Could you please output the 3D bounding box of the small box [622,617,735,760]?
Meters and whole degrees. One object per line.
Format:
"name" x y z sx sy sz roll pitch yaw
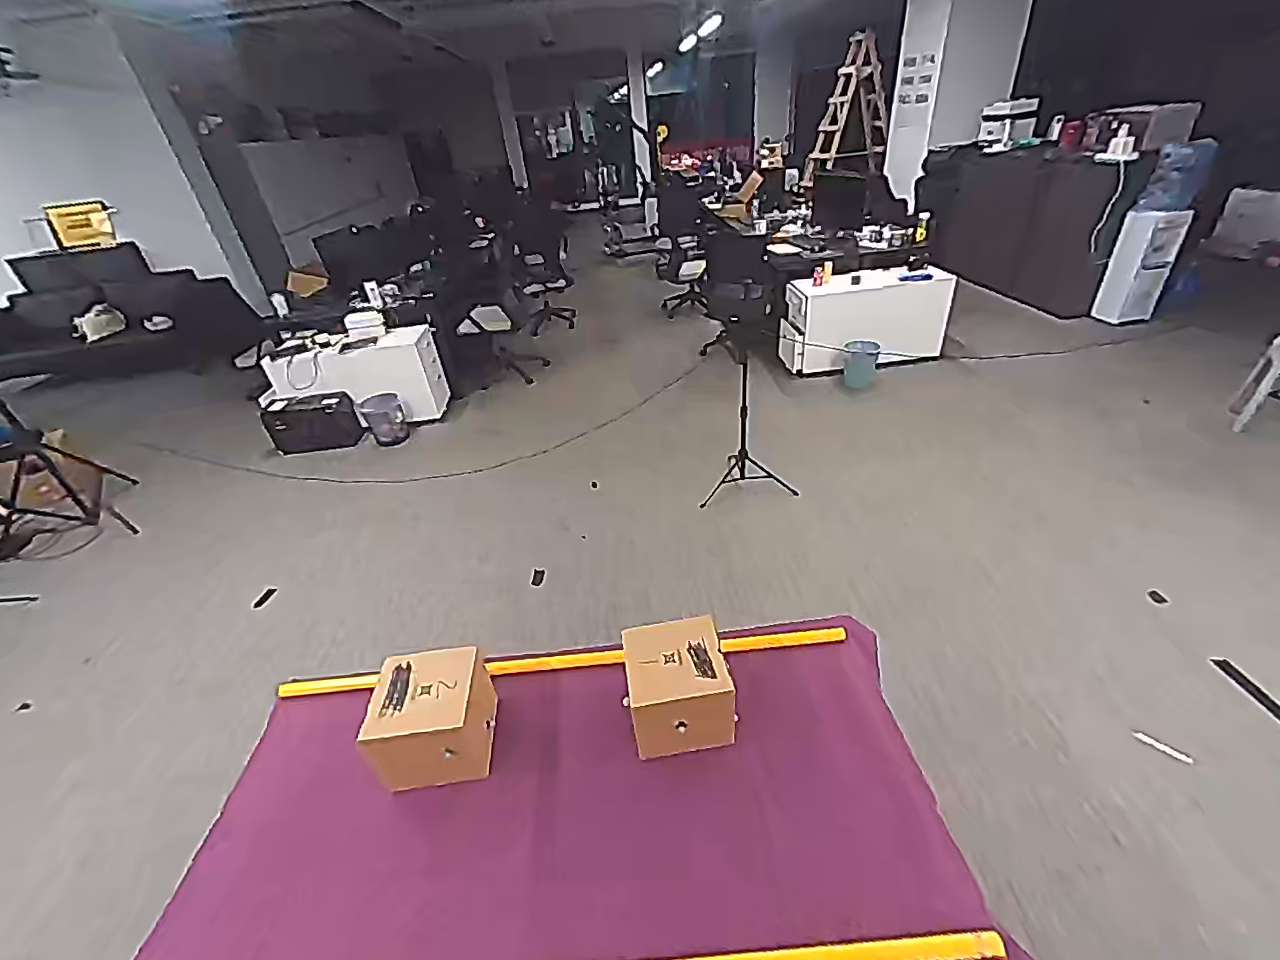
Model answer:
"small box" 0.069 0.380 0.984 0.179 0.176 0.168 -9 35 -2
